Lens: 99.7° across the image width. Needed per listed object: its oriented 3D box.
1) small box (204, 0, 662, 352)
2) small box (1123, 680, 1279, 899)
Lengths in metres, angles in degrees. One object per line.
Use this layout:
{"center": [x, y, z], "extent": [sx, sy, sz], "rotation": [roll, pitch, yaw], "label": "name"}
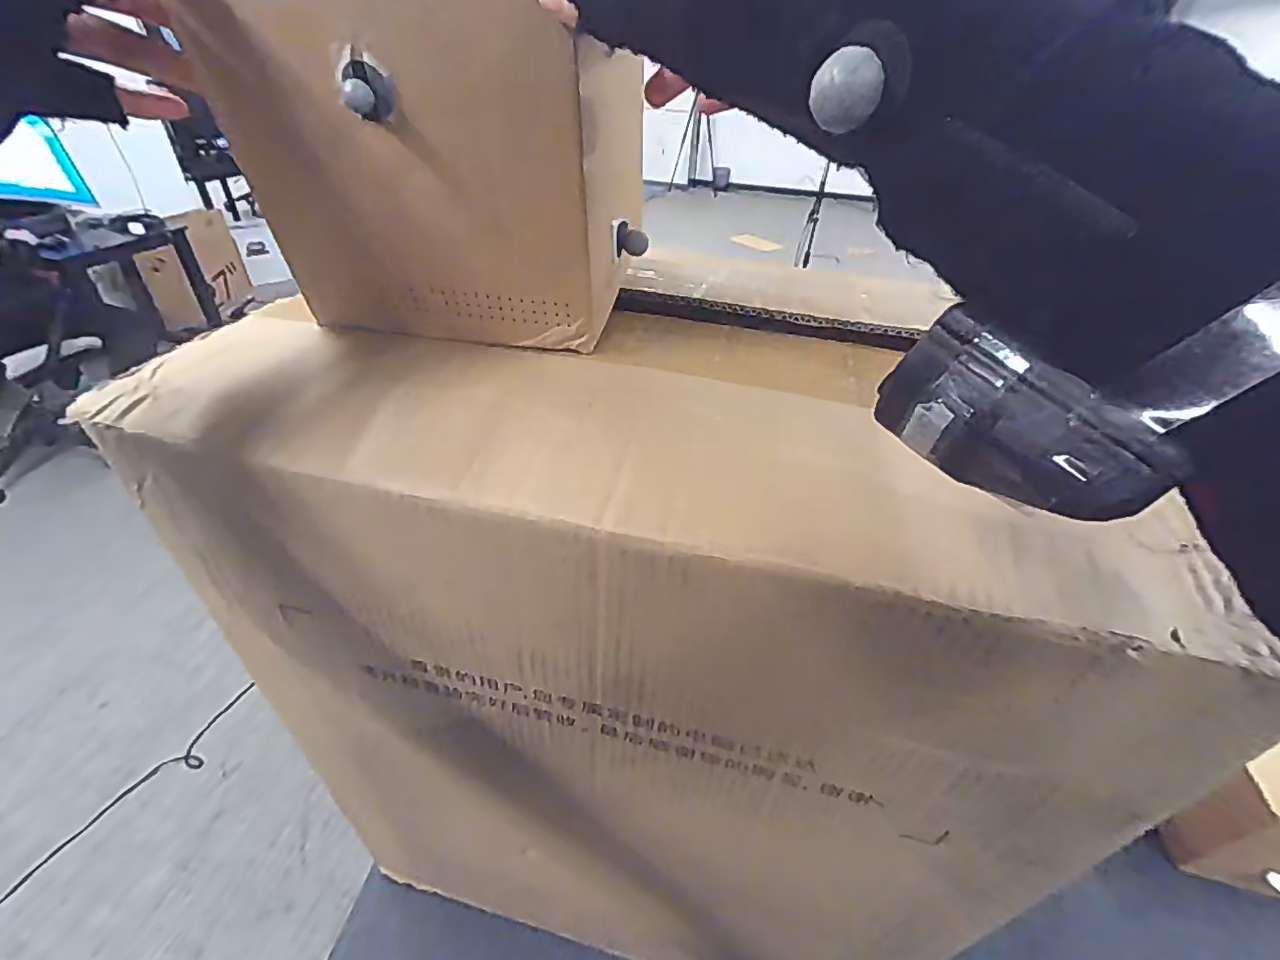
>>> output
{"center": [-0.086, -0.195, 0.320], "extent": [0.179, 0.176, 0.168], "rotation": [8, 50, 5], "label": "small box"}
{"center": [0.785, 0.398, 0.696], "extent": [0.168, 0.176, 0.179], "rotation": [12, 39, 10], "label": "small box"}
